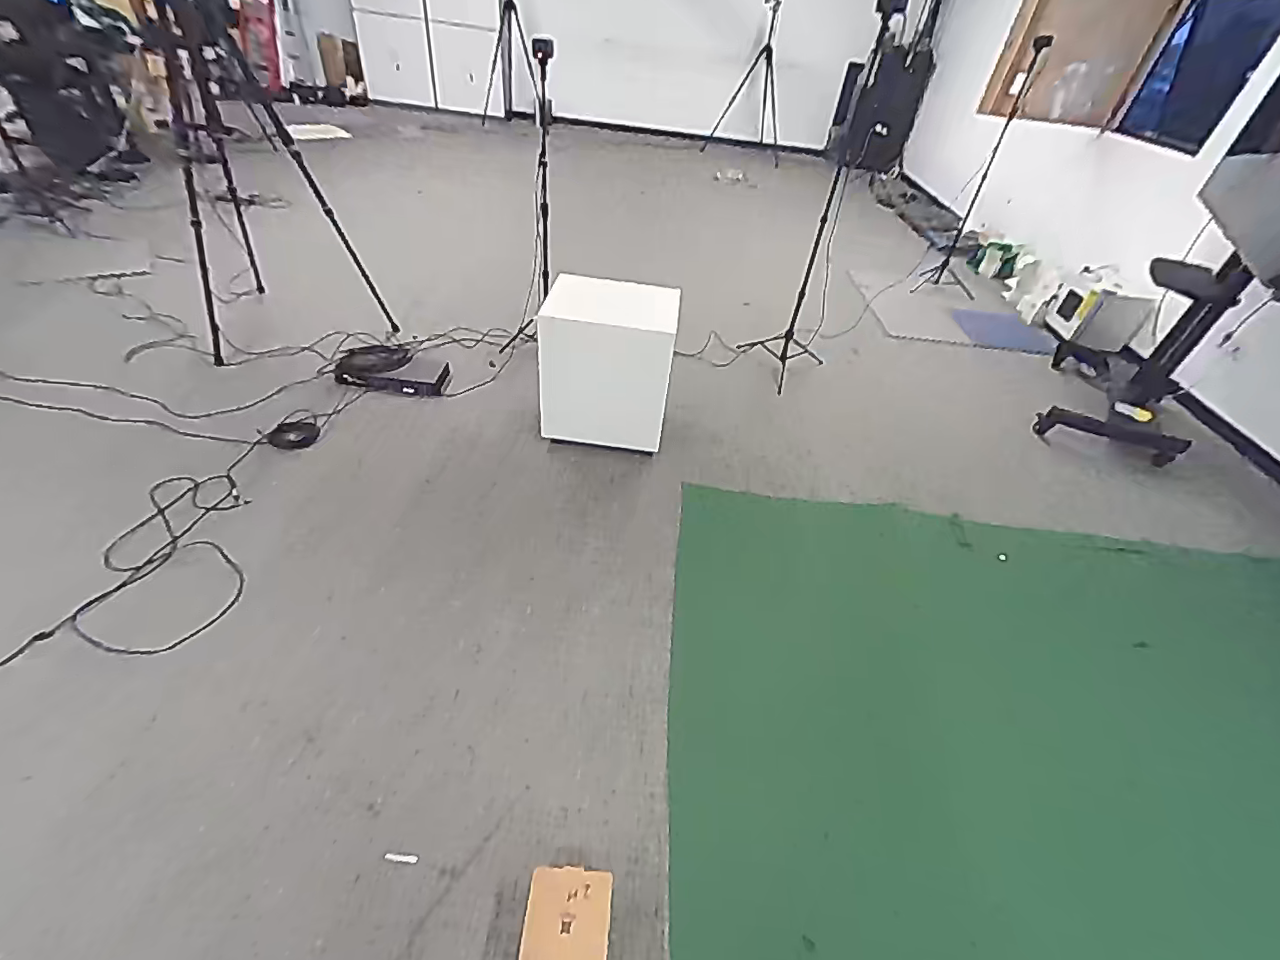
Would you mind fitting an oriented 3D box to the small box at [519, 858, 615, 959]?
[{"bbox_3d":[-0.144,0.900,1.099,0.168,0.176,0.179,7,43,-2],"label":"small box"}]
